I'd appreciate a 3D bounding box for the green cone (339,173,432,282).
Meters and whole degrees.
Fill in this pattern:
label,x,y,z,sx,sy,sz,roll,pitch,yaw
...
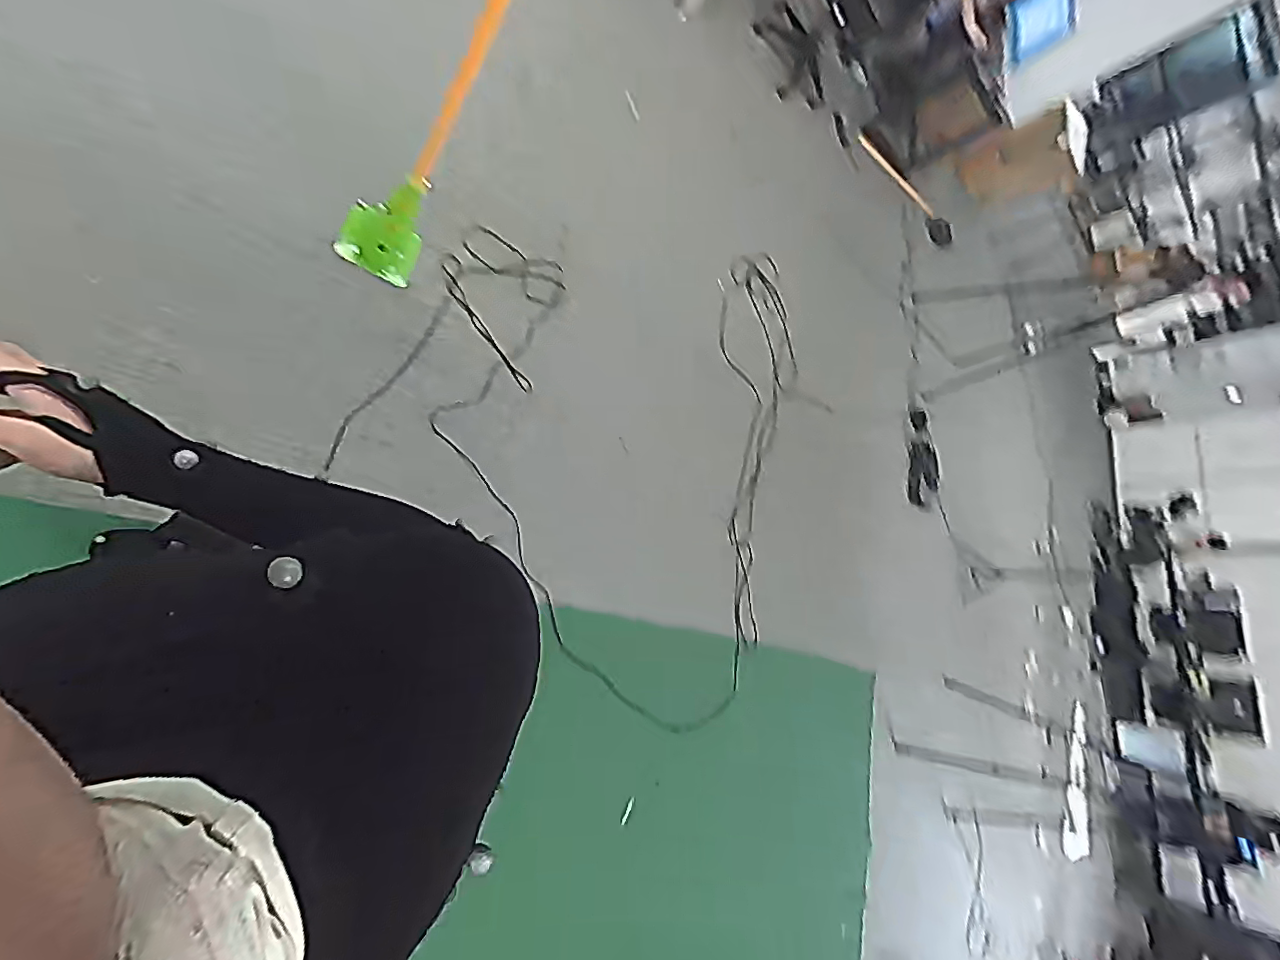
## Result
label,x,y,z,sx,sy,sz,roll,pitch,yaw
green cone,-0.667,-0.738,1.498,0.202,0.368,0.200,23,70,-37
